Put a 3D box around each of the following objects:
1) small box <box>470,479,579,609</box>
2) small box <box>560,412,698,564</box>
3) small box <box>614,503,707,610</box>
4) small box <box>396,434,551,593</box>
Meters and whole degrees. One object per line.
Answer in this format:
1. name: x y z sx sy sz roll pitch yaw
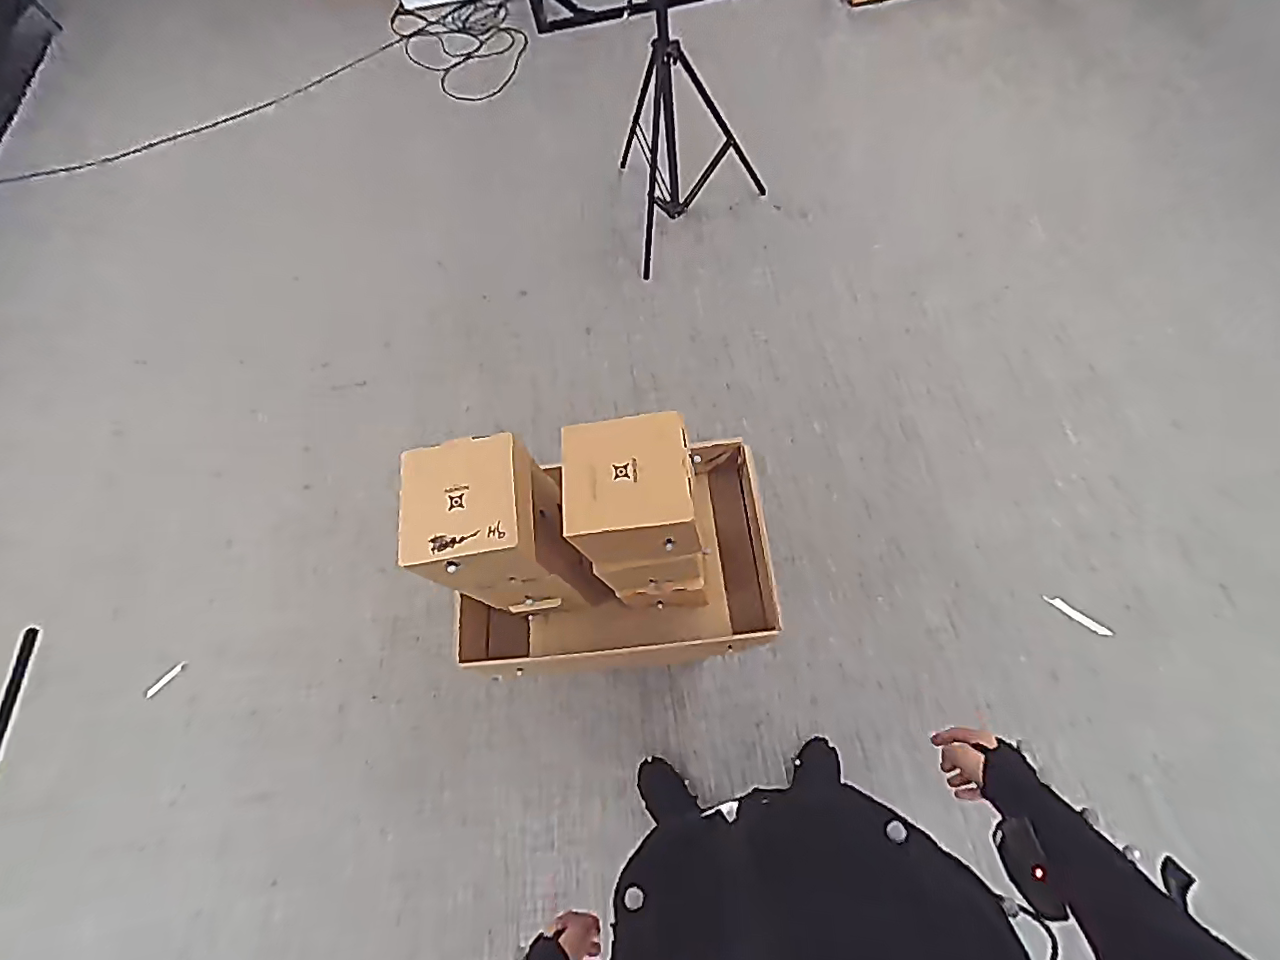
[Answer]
1. small box: -0.211 0.119 0.962 0.168 0.176 0.179 -10 67 4
2. small box: -0.010 0.020 0.797 0.179 0.176 0.168 -8 67 8
3. small box: 0.043 0.158 1.090 0.168 0.176 0.179 -7 68 8
4. small box: -0.239 0.057 0.810 0.168 0.176 0.179 -11 66 5
